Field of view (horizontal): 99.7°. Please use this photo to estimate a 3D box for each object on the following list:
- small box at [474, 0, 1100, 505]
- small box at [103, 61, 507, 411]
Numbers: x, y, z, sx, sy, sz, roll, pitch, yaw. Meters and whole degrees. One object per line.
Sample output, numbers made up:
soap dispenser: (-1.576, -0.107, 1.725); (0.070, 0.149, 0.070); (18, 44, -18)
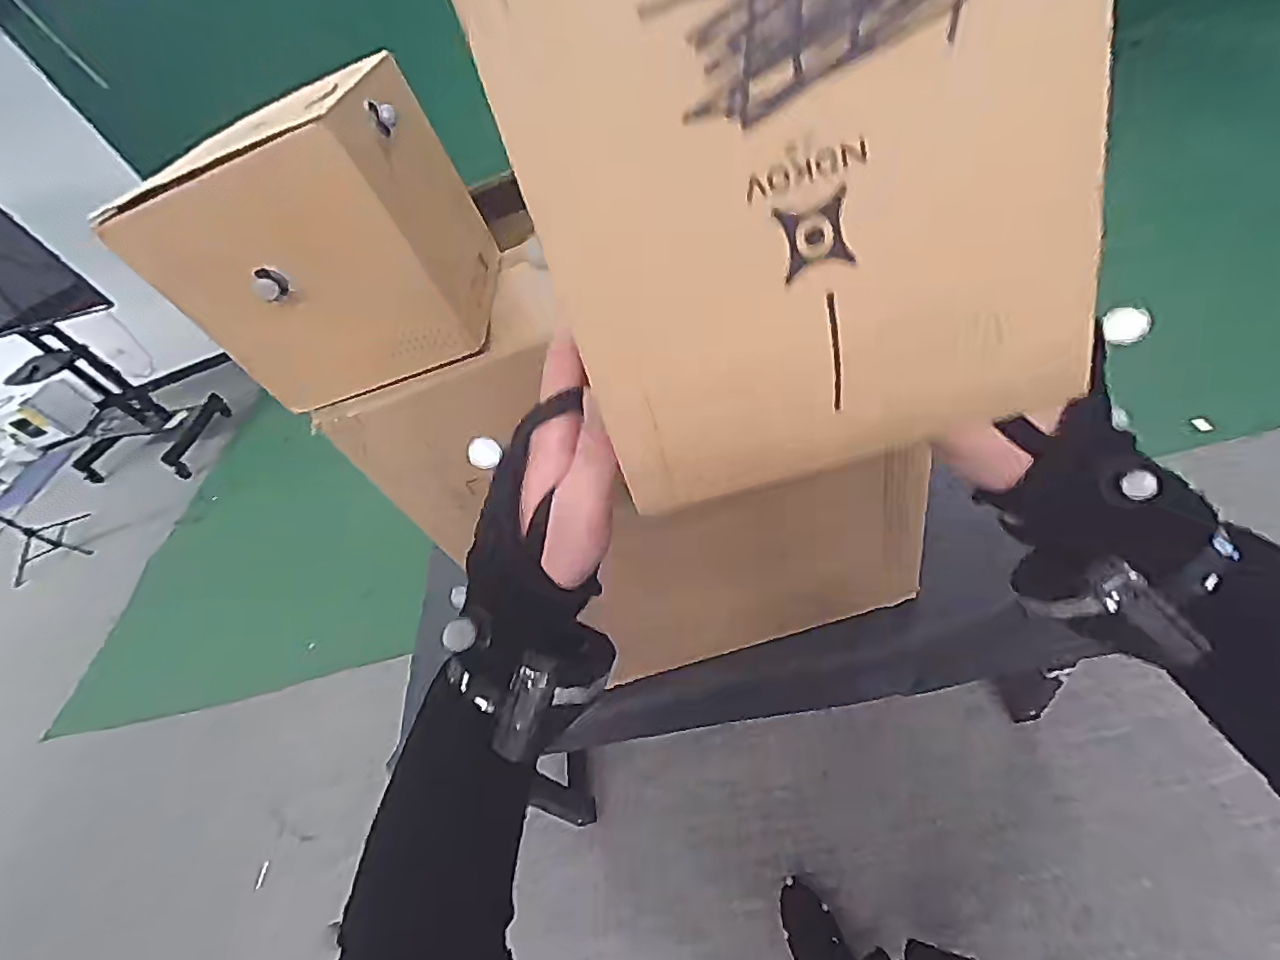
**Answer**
small box: (0.051, -0.118, 0.239); (0.168, 0.179, 0.176); (-16, 23, 7)
small box: (-0.229, -0.180, 0.425); (0.179, 0.176, 0.168); (-17, 47, 11)
